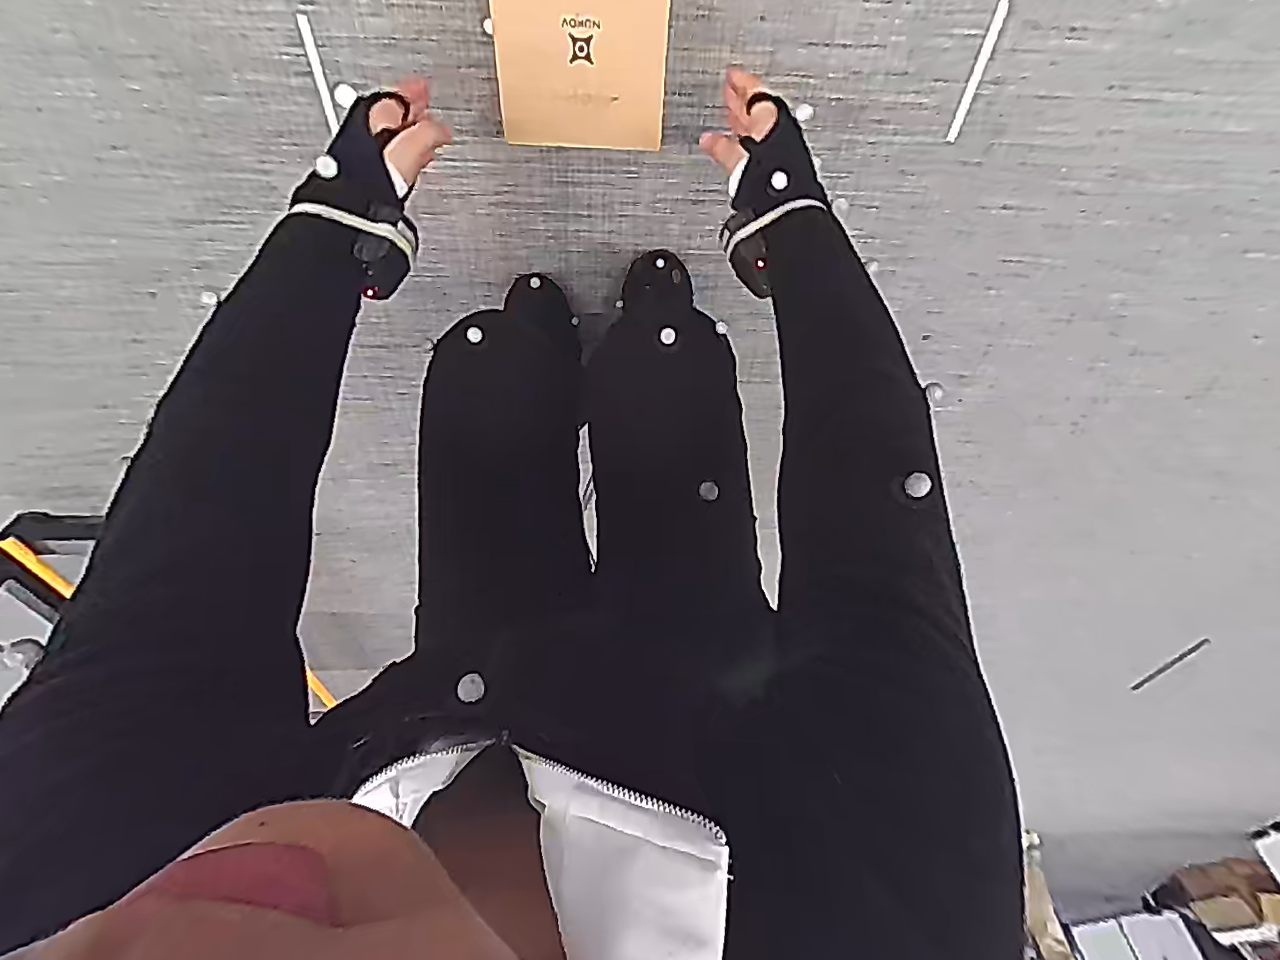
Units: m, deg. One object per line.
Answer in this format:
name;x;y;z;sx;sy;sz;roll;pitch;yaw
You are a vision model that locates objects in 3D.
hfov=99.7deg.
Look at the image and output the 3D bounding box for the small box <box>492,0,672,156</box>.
small box;-0.056;-0.466;0.569;0.168;0.176;0.179;1;136;-2
